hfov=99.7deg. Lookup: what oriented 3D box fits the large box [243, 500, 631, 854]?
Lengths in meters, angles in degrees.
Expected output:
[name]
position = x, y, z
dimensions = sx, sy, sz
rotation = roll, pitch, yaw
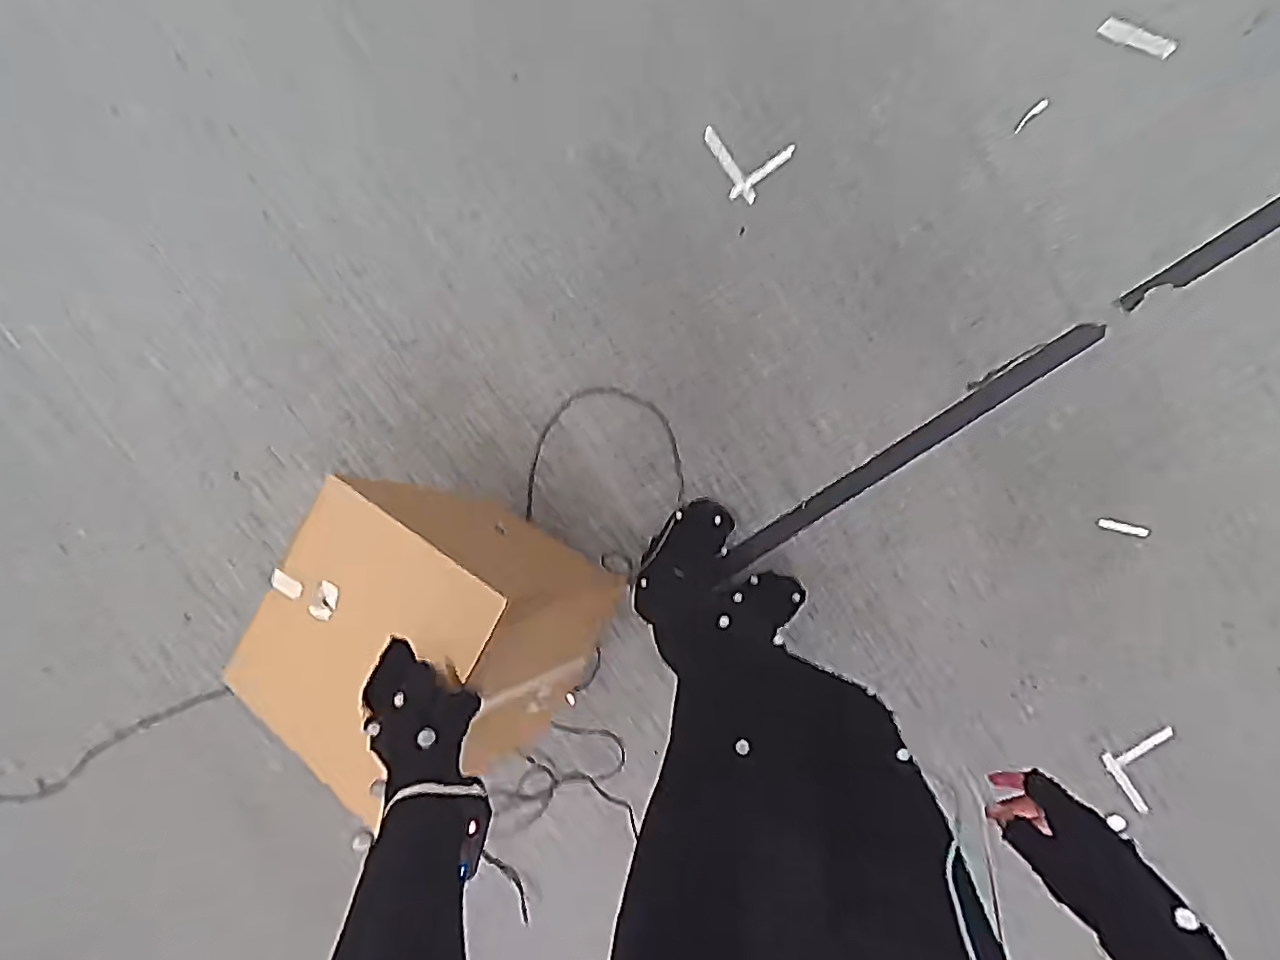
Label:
[large box]
position = -0.272, 0.245, 0.831
dimensions = 0.320, 0.408, 0.320
rotation = 30, 92, 19
